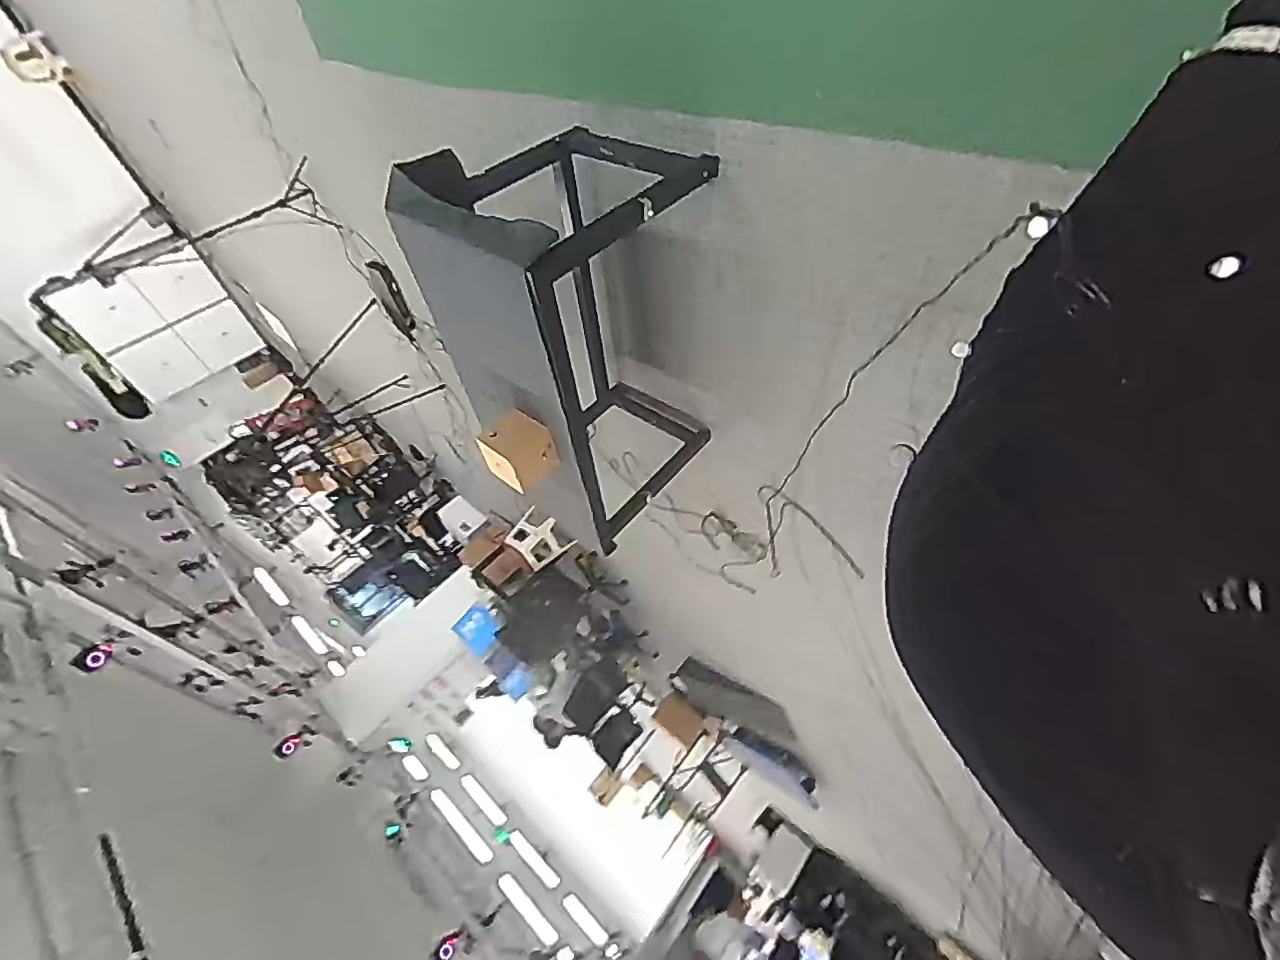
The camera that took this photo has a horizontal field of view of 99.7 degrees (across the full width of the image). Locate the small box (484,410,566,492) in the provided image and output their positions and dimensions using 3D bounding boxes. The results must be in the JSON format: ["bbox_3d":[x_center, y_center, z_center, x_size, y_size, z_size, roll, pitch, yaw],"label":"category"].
[{"bbox_3d":[-0.367,-0.101,1.747,0.179,0.176,0.168,31,151,30],"label":"small box"}]
